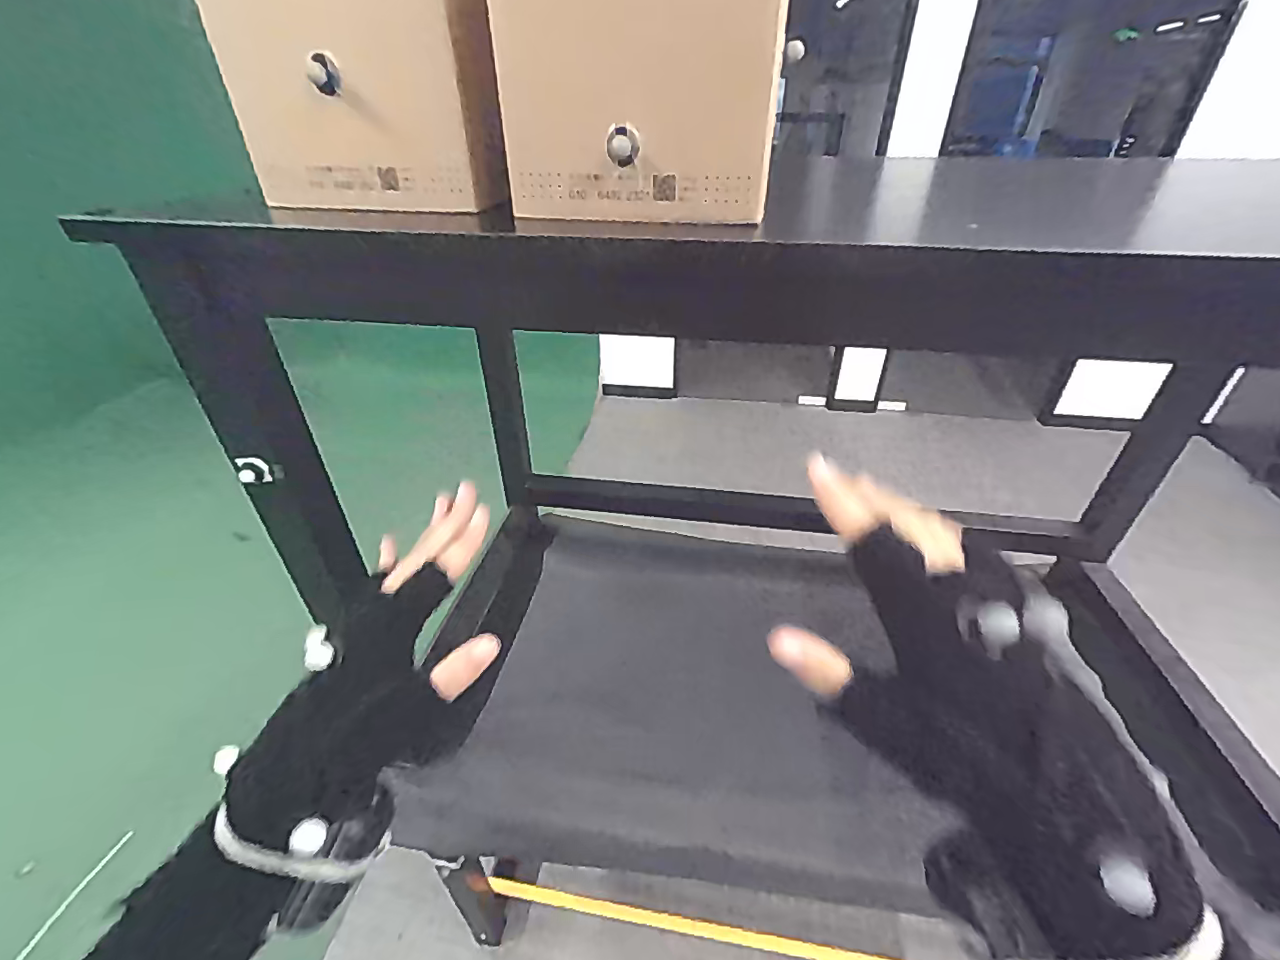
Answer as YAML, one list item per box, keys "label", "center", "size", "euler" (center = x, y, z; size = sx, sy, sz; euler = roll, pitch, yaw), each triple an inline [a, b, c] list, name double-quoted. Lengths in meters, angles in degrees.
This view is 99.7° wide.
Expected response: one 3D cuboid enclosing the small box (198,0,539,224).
- label: "small box"
  center: [-0.185, -0.304, 0.422]
  size: [0.168, 0.176, 0.179]
  euler: [6, 34, 7]
